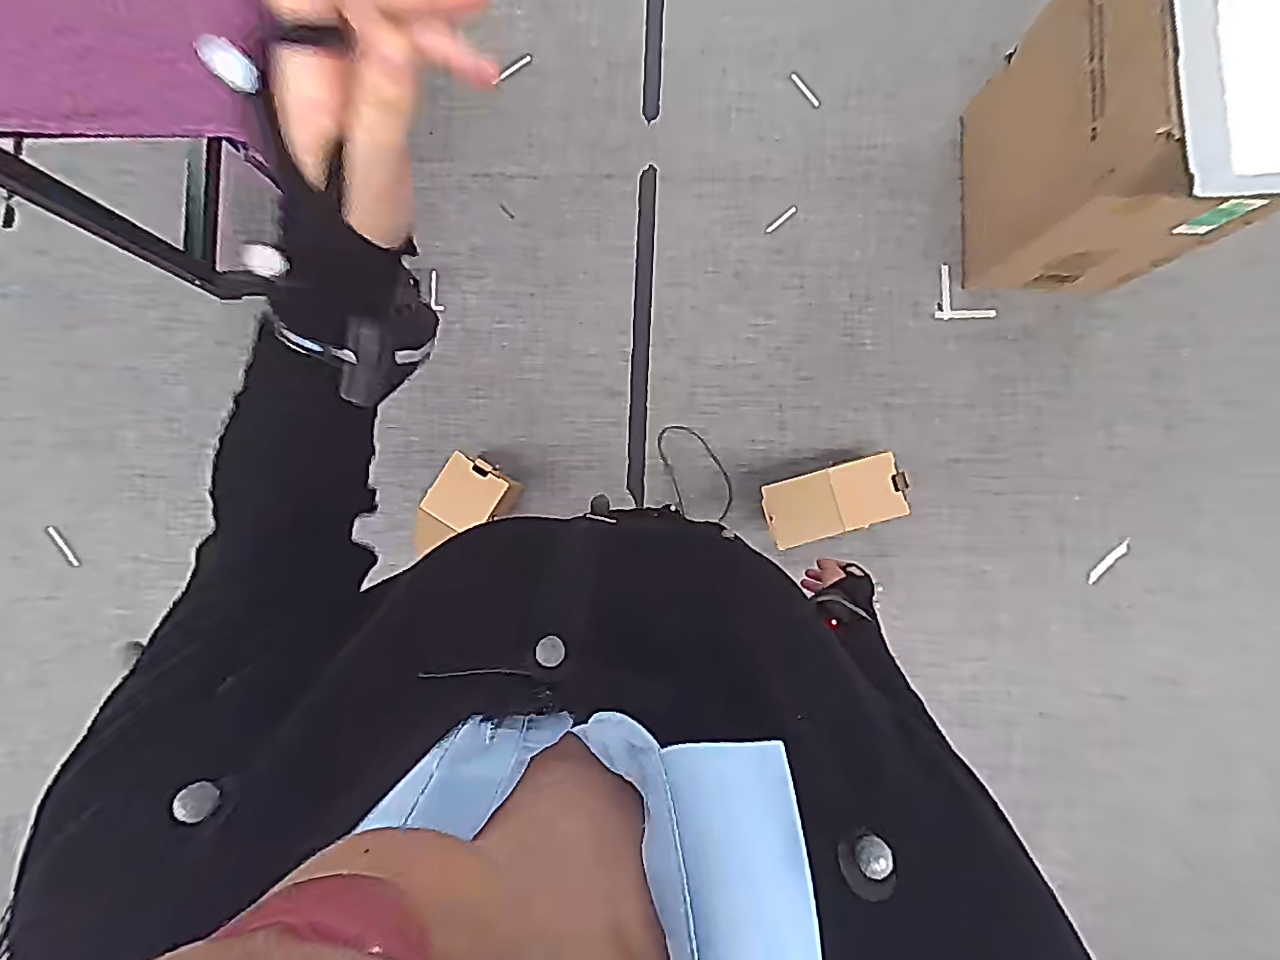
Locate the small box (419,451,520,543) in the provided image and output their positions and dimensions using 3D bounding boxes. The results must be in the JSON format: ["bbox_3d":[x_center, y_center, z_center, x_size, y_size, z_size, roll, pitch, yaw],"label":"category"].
[{"bbox_3d":[-0.438,0.047,1.425,0.168,0.176,0.179,33,87,2],"label":"small box"}]
